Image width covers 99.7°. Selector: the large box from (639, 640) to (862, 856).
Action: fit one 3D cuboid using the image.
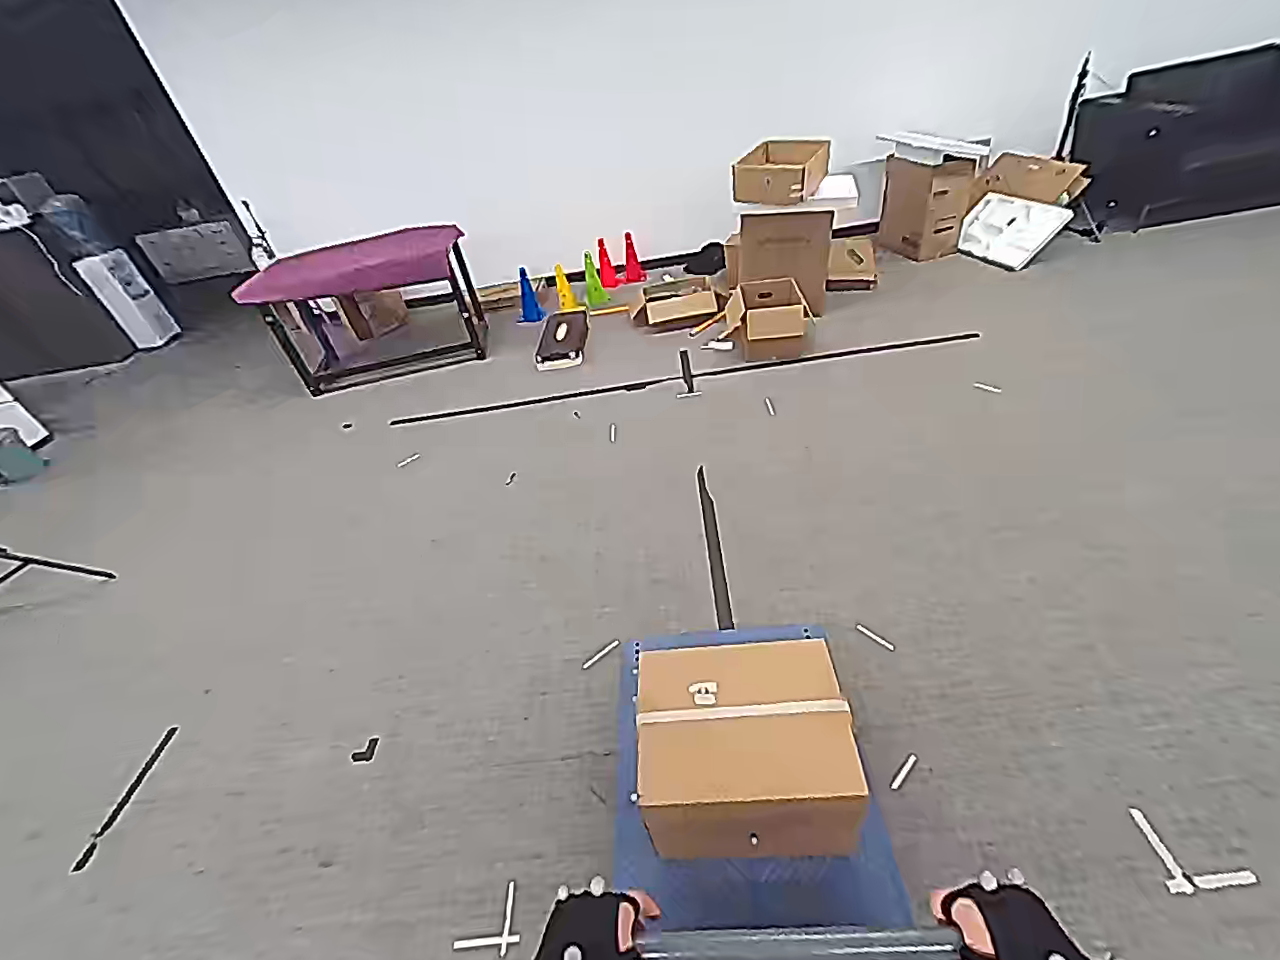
[{"bbox_3d":[0.221,0.584,1.174,0.408,0.320,0.320,-7,38,6],"label":"large box"}]
